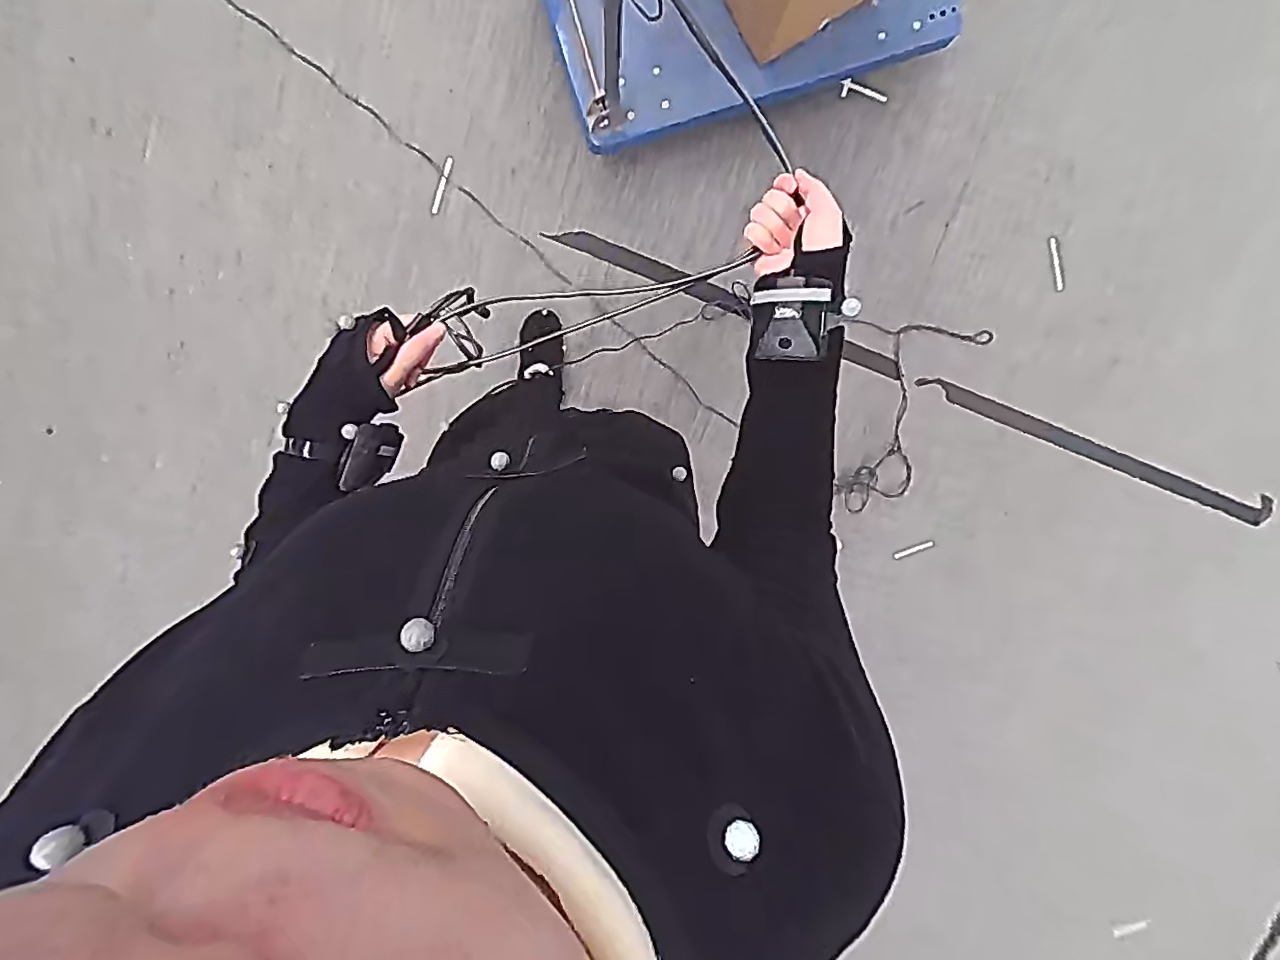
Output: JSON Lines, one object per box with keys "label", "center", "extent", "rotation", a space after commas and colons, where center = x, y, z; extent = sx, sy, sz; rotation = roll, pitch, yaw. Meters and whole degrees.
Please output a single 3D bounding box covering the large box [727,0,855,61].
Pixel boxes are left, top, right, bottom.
{"label": "large box", "center": [0.290, -1.121, 0.986], "extent": [0.320, 0.320, 0.408], "rotation": [-32, 101, 3]}
